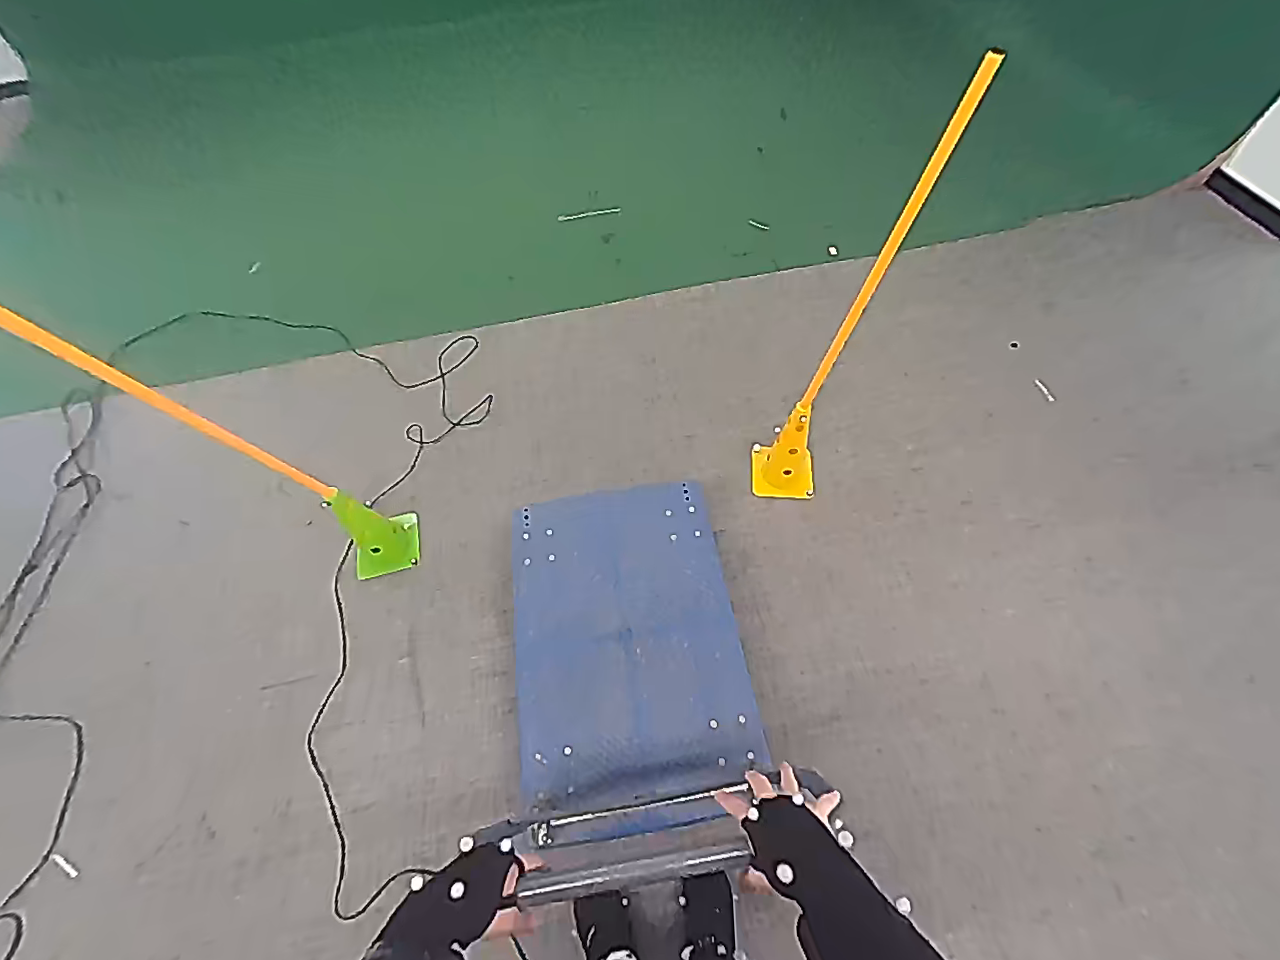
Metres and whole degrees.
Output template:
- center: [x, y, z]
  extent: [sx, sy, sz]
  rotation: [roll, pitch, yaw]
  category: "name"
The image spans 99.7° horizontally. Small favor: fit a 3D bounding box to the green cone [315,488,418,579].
- center: [-0.843, 0.123, 1.621]
  extent: [0.202, 0.368, 0.200]
  rotation: [-16, 59, -4]
  category: "green cone"
